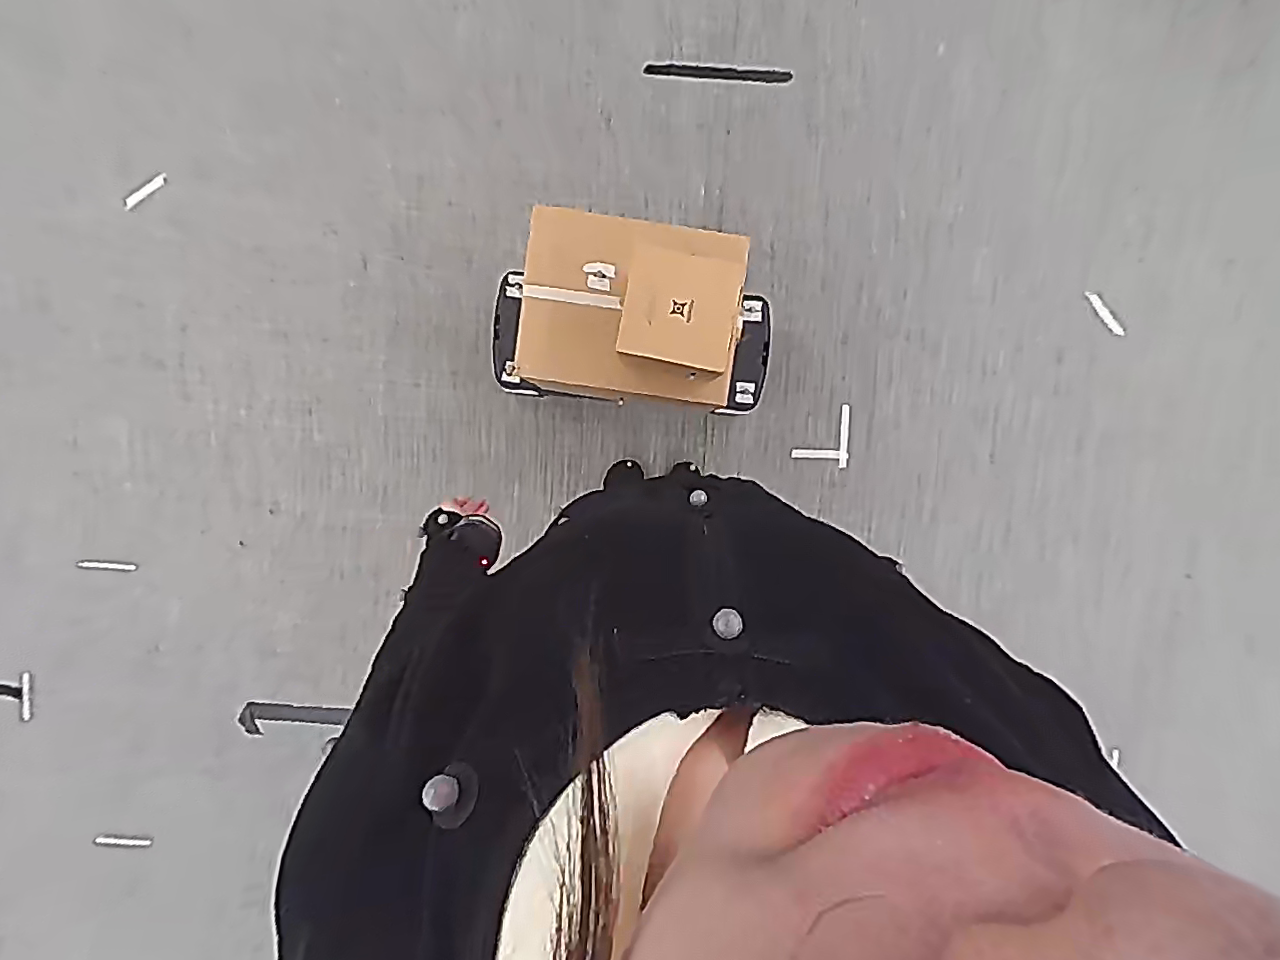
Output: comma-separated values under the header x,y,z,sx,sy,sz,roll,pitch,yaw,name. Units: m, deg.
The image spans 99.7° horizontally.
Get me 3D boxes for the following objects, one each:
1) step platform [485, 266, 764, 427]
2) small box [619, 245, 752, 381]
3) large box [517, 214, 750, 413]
x,y,z,sx,sy,sz,roll,pitch,yaw,name
-0.037,-0.328,1.375,0.684,0.204,0.286,10,94,-1,step platform
0.067,-0.264,0.896,0.179,0.176,0.168,12,95,-1,small box
-0.012,-0.320,1.137,0.408,0.320,0.320,8,93,0,large box
